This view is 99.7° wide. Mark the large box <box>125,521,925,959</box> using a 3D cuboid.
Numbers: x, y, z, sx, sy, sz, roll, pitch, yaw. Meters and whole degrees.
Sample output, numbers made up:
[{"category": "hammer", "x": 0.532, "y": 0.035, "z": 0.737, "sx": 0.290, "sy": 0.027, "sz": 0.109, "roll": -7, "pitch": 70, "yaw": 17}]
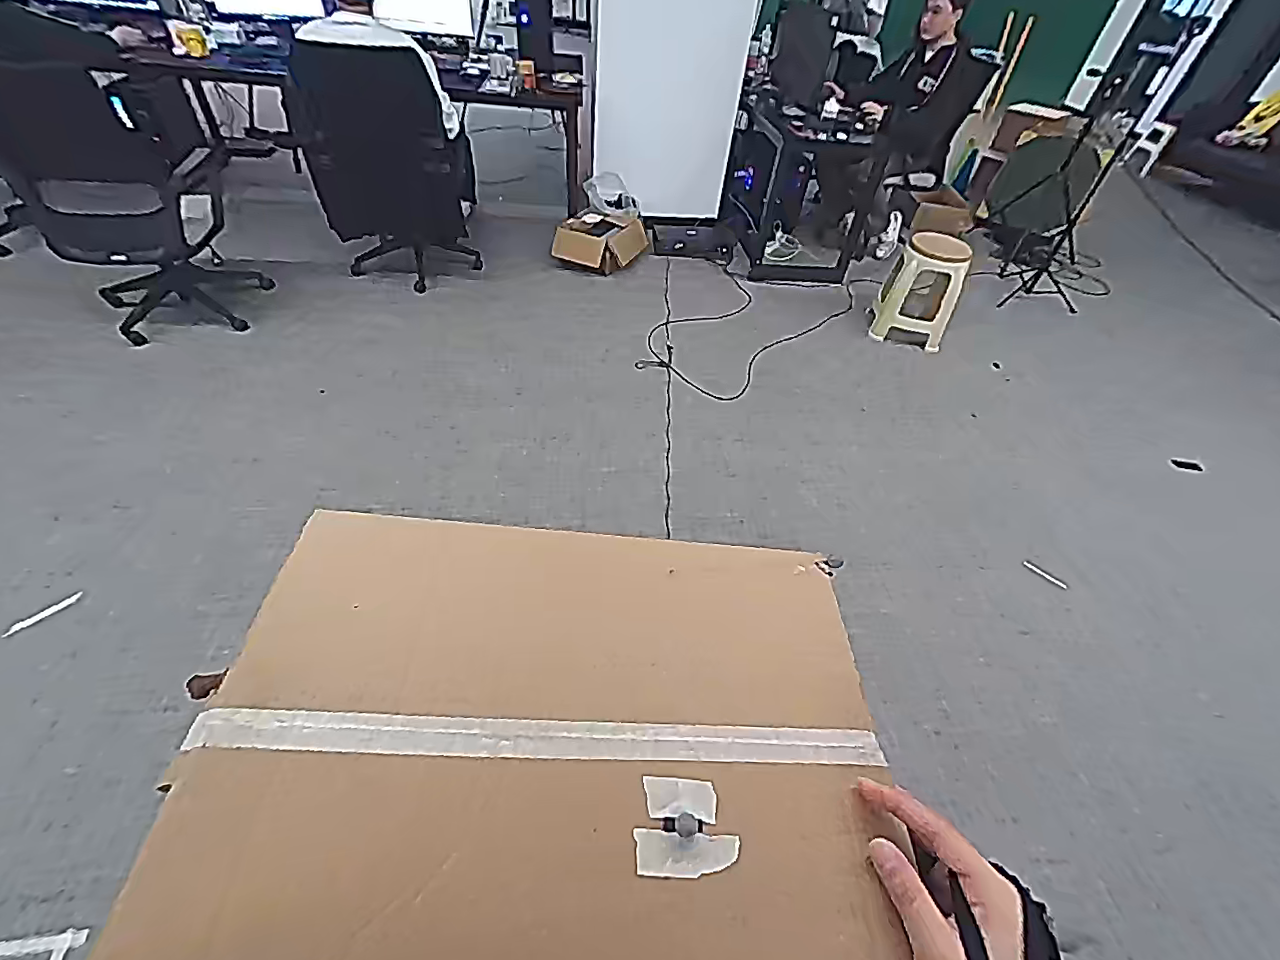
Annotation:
[{"category": "large box", "x": -0.069, "y": 0.261, "z": 0.449, "sx": 0.408, "sy": 0.320, "sz": 0.320, "roll": 6, "pitch": 48, "yaw": -8}]
